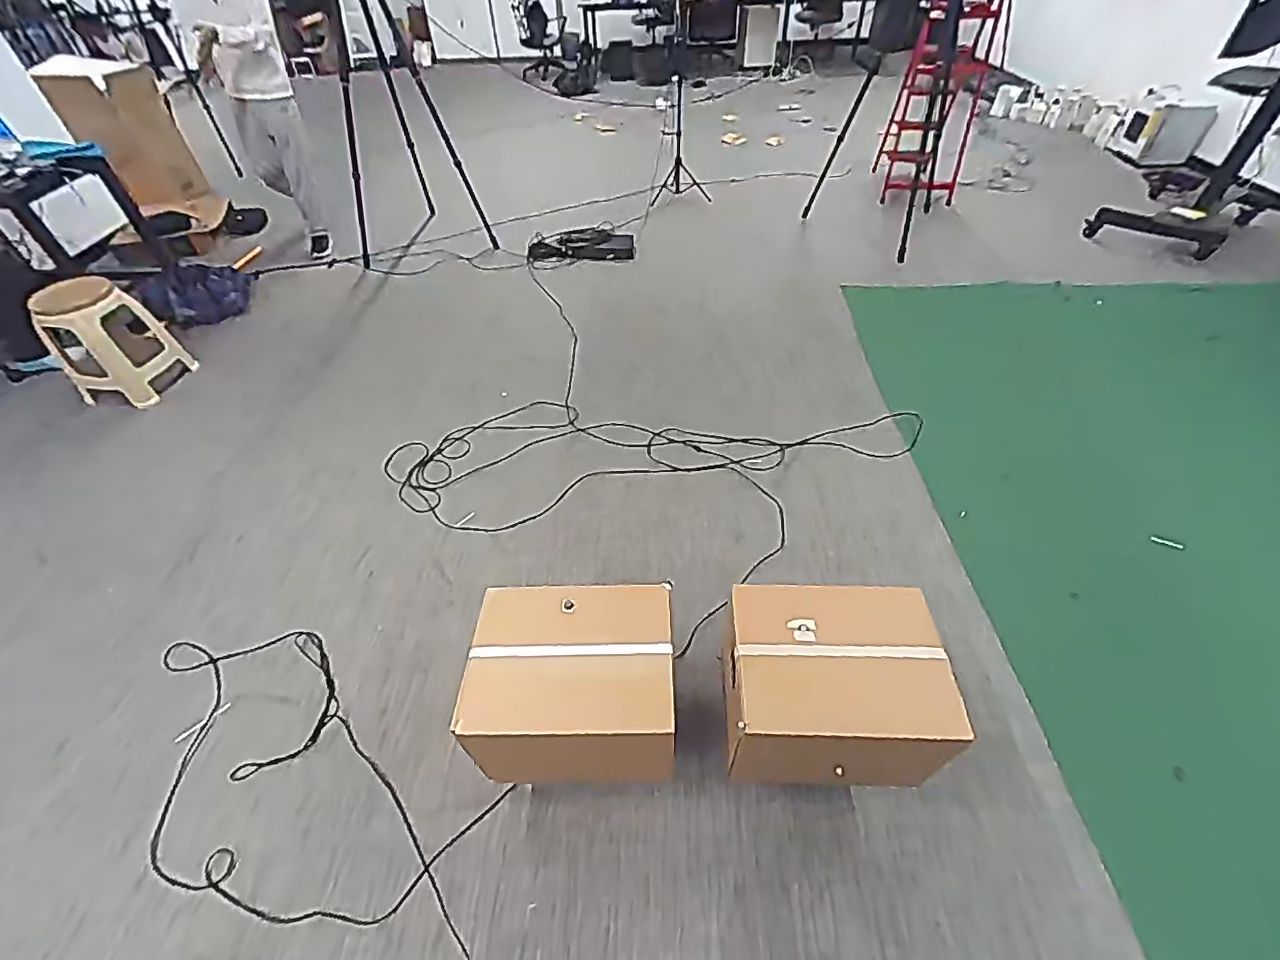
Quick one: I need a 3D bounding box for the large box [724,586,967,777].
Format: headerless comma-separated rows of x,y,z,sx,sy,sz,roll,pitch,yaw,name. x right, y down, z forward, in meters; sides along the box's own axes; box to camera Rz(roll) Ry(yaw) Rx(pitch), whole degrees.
0.404,0.444,1.186,0.408,0.320,0.320,0,47,4,large box
